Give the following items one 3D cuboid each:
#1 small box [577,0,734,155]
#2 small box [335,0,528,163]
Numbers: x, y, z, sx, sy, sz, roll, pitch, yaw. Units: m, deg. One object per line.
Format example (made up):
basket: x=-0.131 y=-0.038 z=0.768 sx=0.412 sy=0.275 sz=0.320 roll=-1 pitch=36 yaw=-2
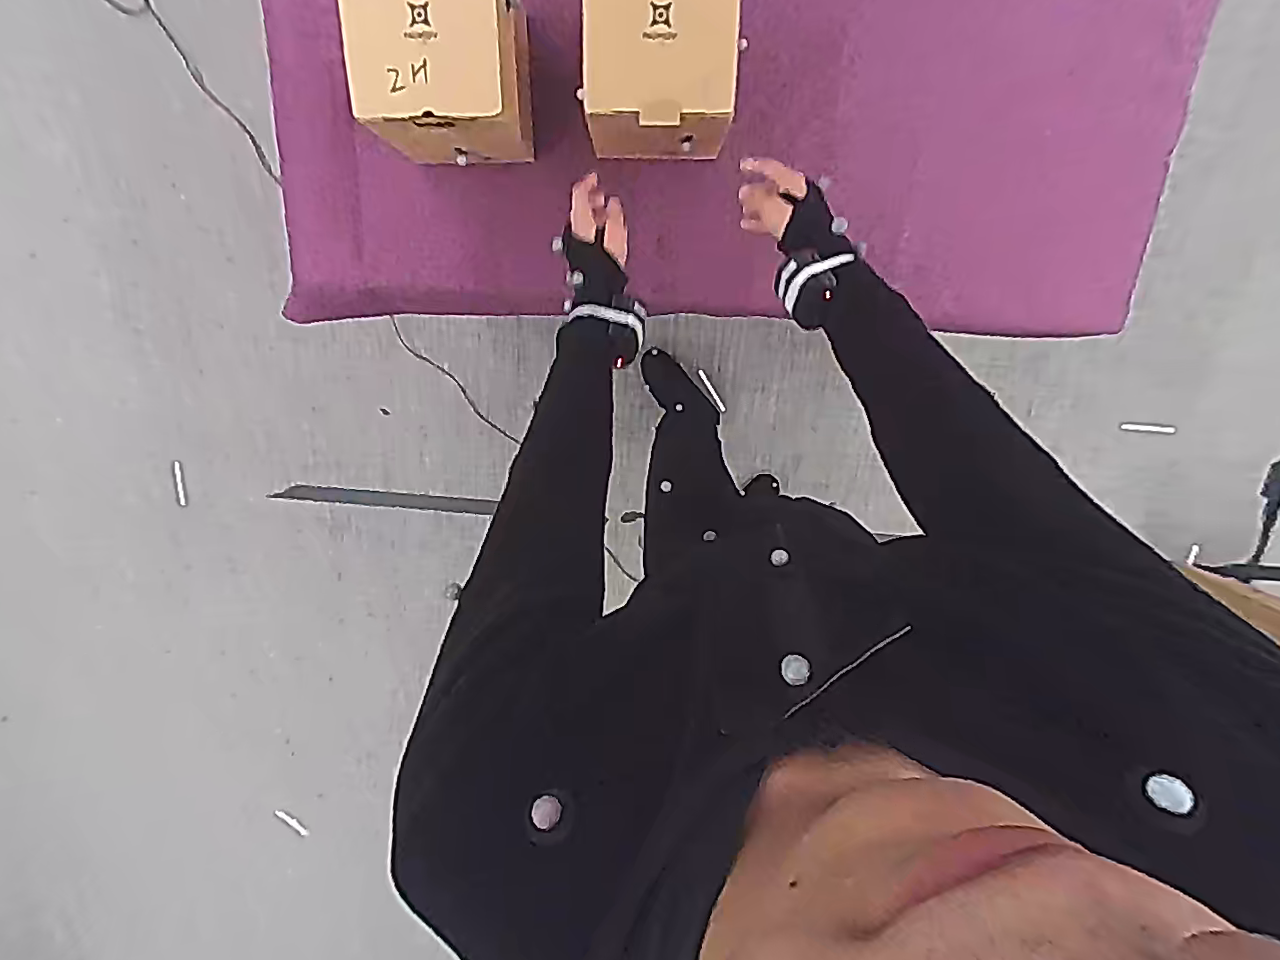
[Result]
small box: x=0.017 y=-0.504 z=0.640 sx=0.168 sy=0.176 sz=0.179 roll=1 pitch=106 yaw=-1
small box: x=-0.233 y=-0.499 z=0.640 sx=0.168 sy=0.176 sz=0.179 roll=0 pitch=106 yaw=1
